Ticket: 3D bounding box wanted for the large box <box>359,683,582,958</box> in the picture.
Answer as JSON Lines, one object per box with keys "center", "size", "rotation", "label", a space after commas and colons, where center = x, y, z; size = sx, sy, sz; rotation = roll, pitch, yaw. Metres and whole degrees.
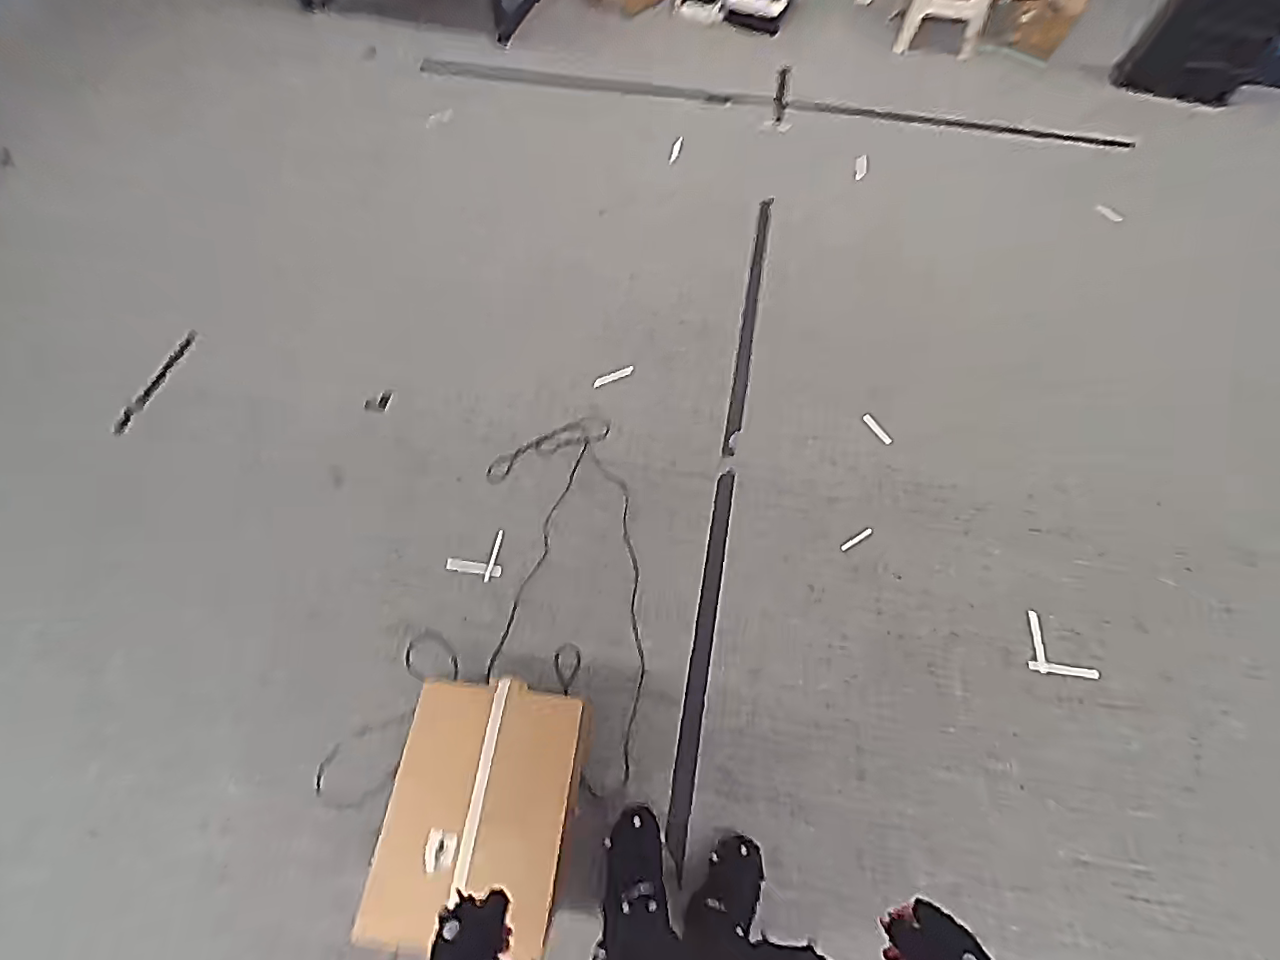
{"center": [-0.301, 0.652, 1.107], "size": [0.320, 0.320, 0.408], "rotation": [7, 65, 1], "label": "large box"}
